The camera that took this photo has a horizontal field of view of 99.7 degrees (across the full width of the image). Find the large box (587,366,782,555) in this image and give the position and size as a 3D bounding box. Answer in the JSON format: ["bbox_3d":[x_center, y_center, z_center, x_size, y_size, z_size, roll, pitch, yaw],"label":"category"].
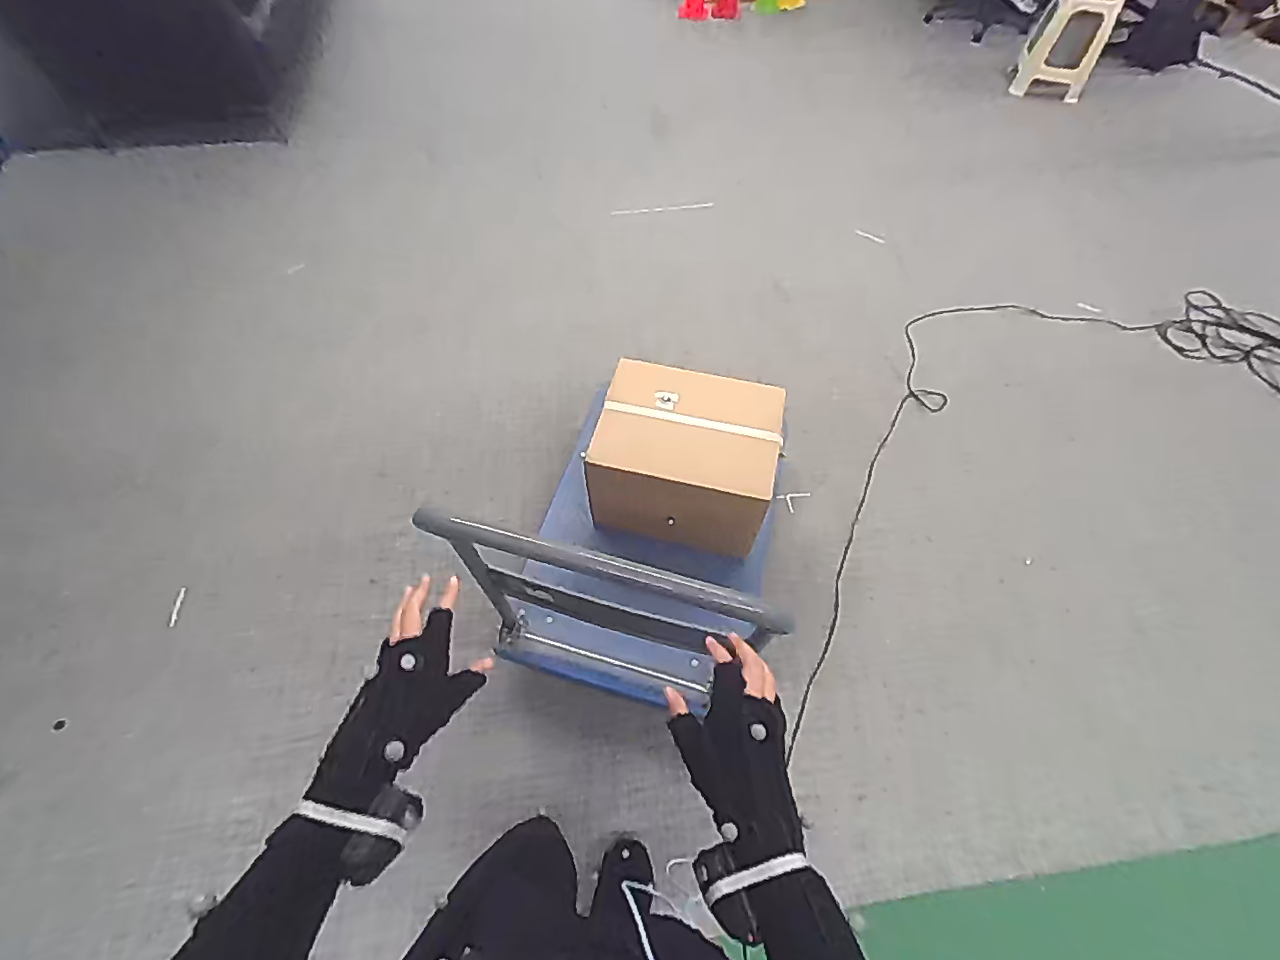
[{"bbox_3d":[0.113,-0.040,1.343,0.408,0.320,0.320,11,58,7],"label":"large box"}]
